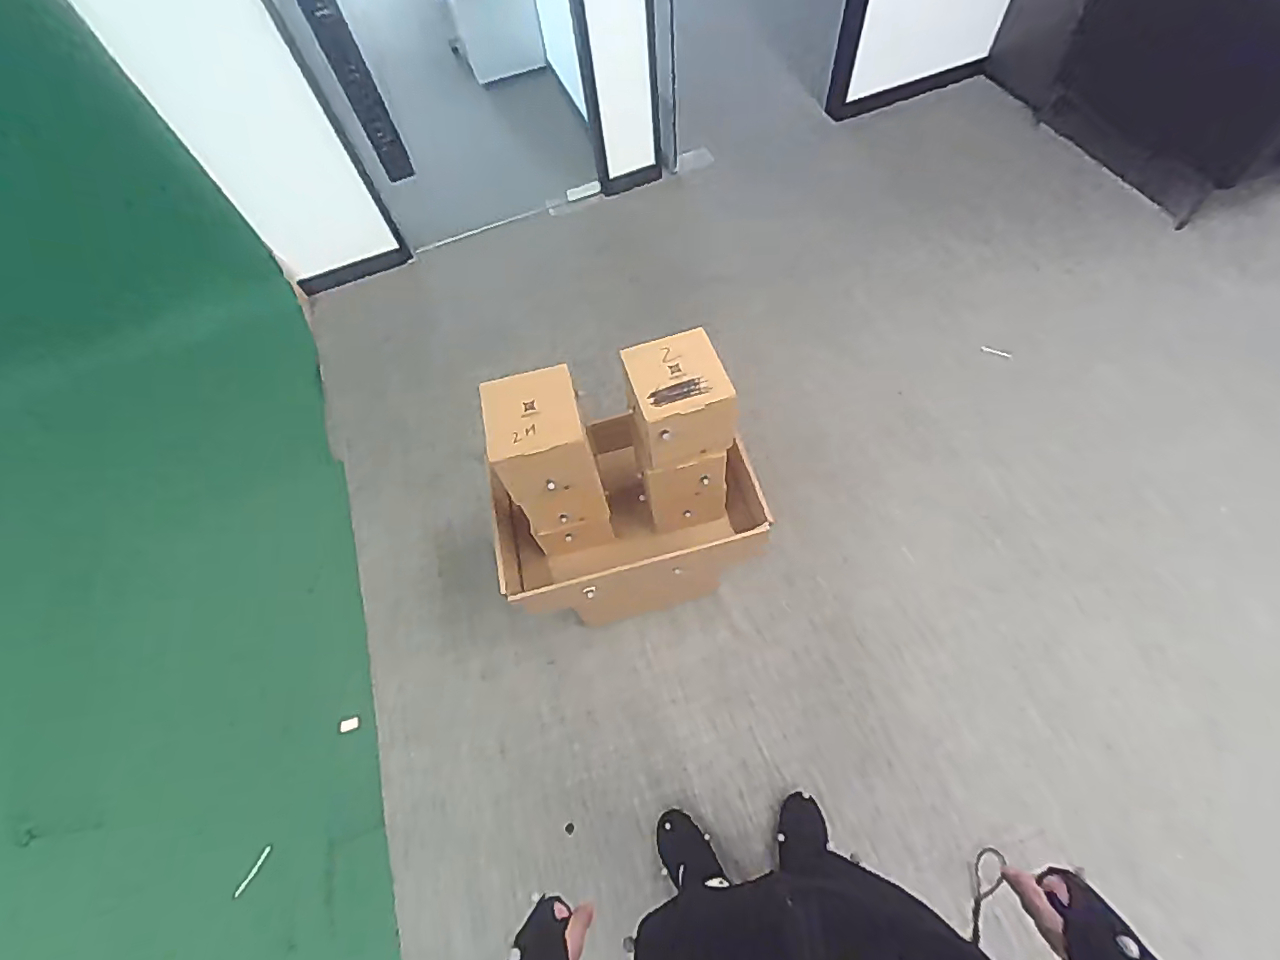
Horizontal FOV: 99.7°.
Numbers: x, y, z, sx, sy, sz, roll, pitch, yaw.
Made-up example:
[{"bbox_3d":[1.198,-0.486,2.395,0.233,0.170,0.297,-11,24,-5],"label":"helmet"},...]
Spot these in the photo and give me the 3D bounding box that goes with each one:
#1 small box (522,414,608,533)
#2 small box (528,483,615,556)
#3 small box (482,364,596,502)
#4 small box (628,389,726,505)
[{"bbox_3d":[-0.170,-0.010,1.156,0.168,0.176,0.179,-14,61,-3],"label":"small box"},{"bbox_3d":[-0.167,0.069,1.300,0.179,0.176,0.168,-13,61,-2],"label":"small box"},{"bbox_3d":[-0.185,-0.083,1.009,0.168,0.176,0.179,-13,61,-2],"label":"small box"},{"bbox_3d":[0.080,-0.062,1.157,0.168,0.176,0.179,-14,60,-3],"label":"small box"}]
